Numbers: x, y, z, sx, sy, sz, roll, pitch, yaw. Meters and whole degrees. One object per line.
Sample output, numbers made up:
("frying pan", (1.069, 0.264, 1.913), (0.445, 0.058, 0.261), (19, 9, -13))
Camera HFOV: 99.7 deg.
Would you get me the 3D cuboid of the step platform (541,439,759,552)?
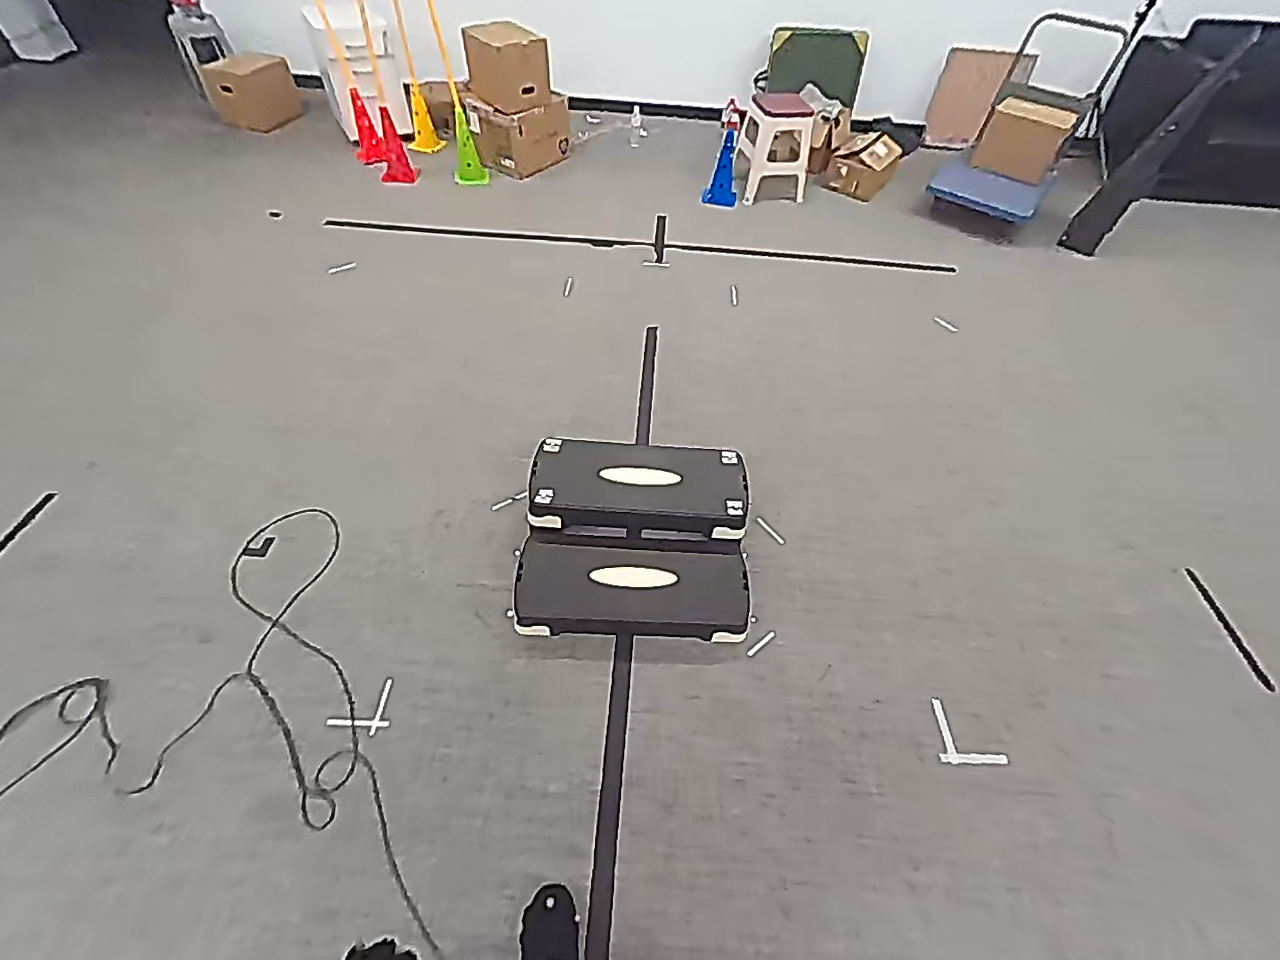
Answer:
("step platform", (0.031, 0.046, 1.727), (0.684, 0.204, 0.286), (4, 51, -2))
